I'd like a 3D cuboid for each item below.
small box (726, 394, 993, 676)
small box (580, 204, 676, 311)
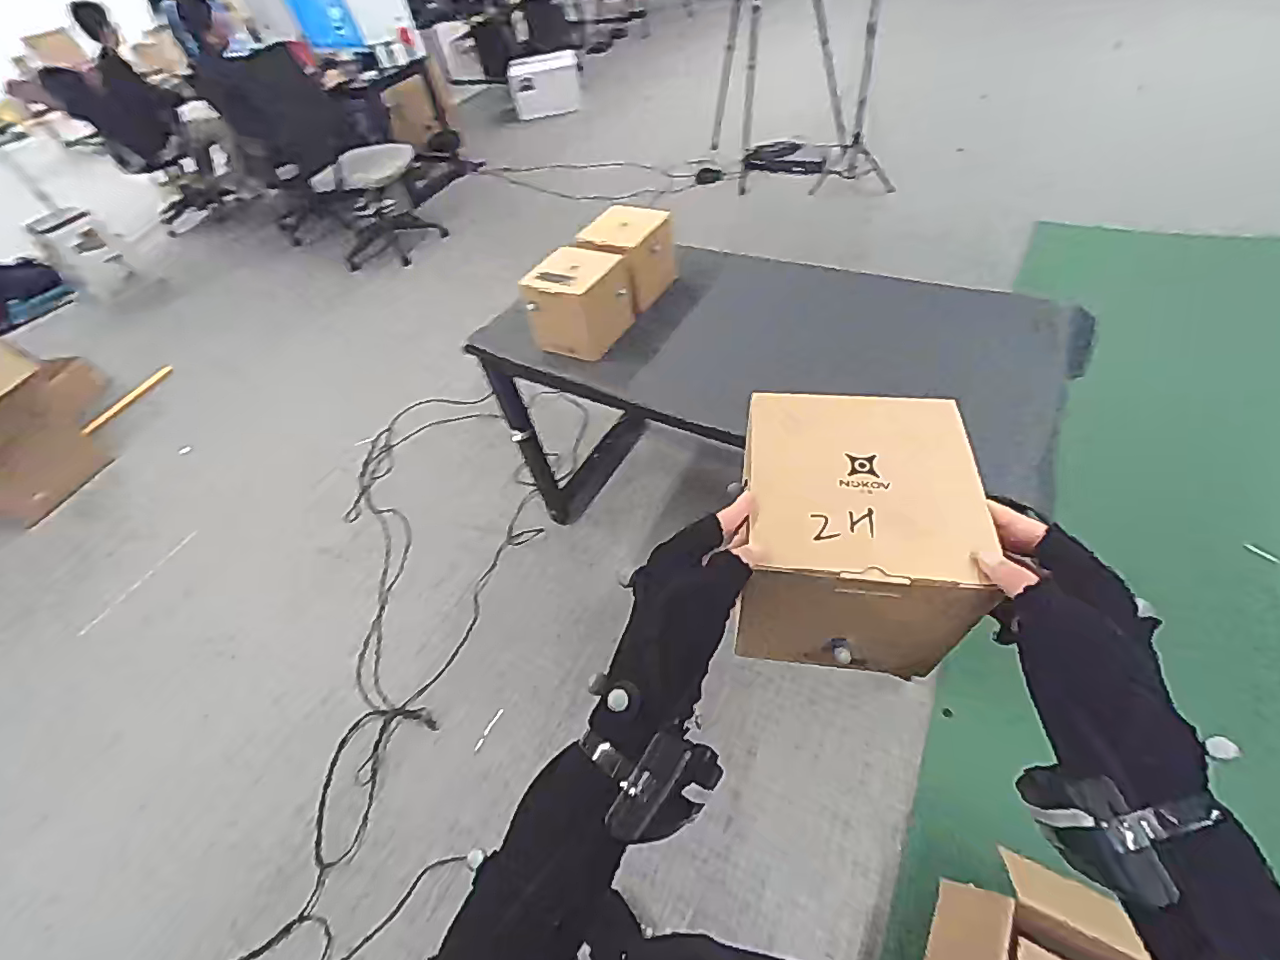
[{"bbox_3d":[0.164,0.048,0.470,0.168,0.176,0.179,3,52,9],"label":"small box"},{"bbox_3d":[-0.021,-0.547,1.328,0.168,0.176,0.179,22,58,25],"label":"small box"}]
